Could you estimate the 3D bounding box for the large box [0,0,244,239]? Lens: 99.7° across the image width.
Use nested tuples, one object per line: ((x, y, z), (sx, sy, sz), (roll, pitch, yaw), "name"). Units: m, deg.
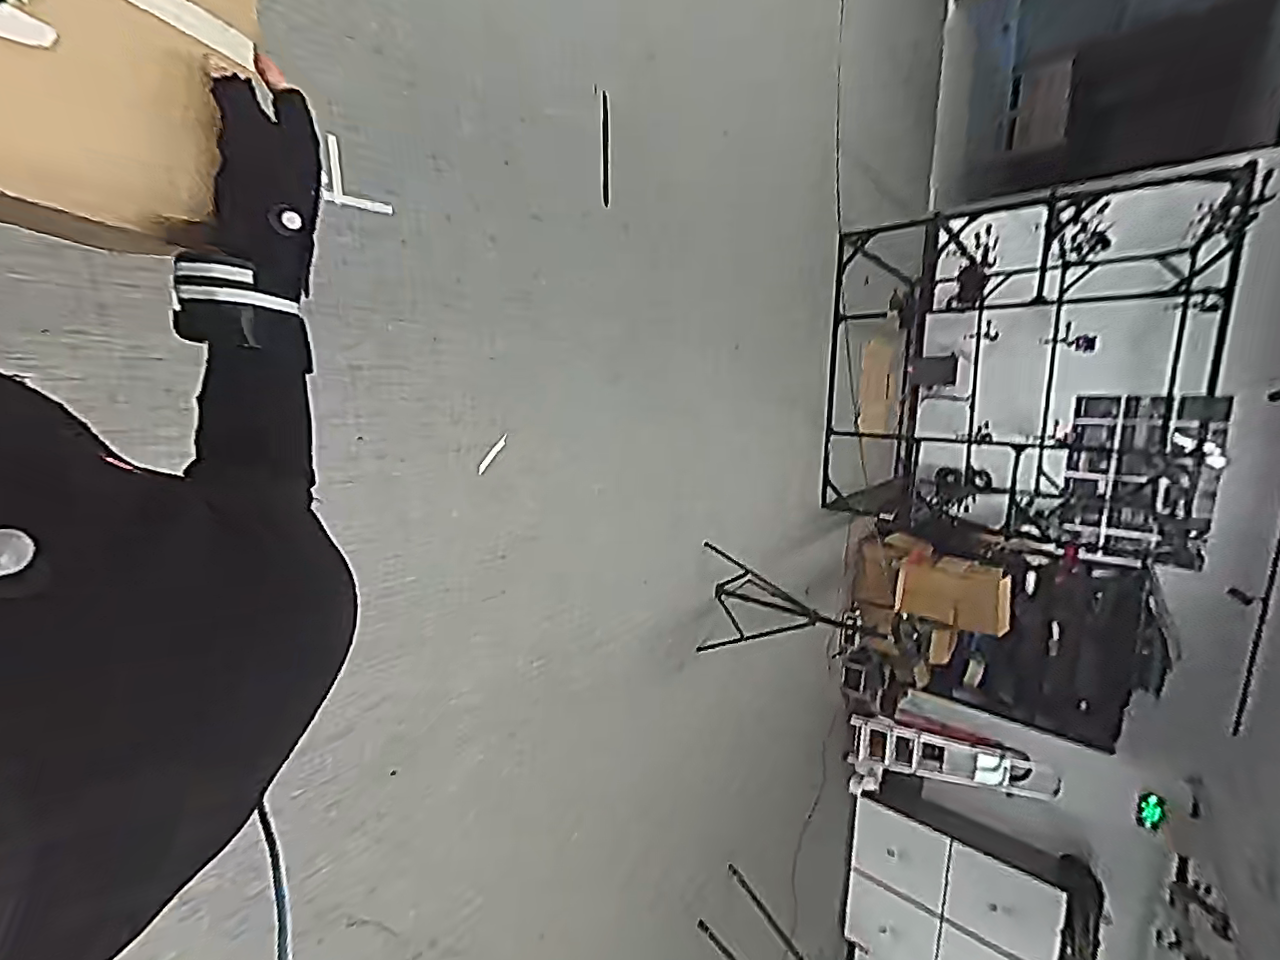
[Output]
((-0.547, -0.378, 0.339), (0.408, 0.320, 0.320), (0, 104, -57), "large box")
